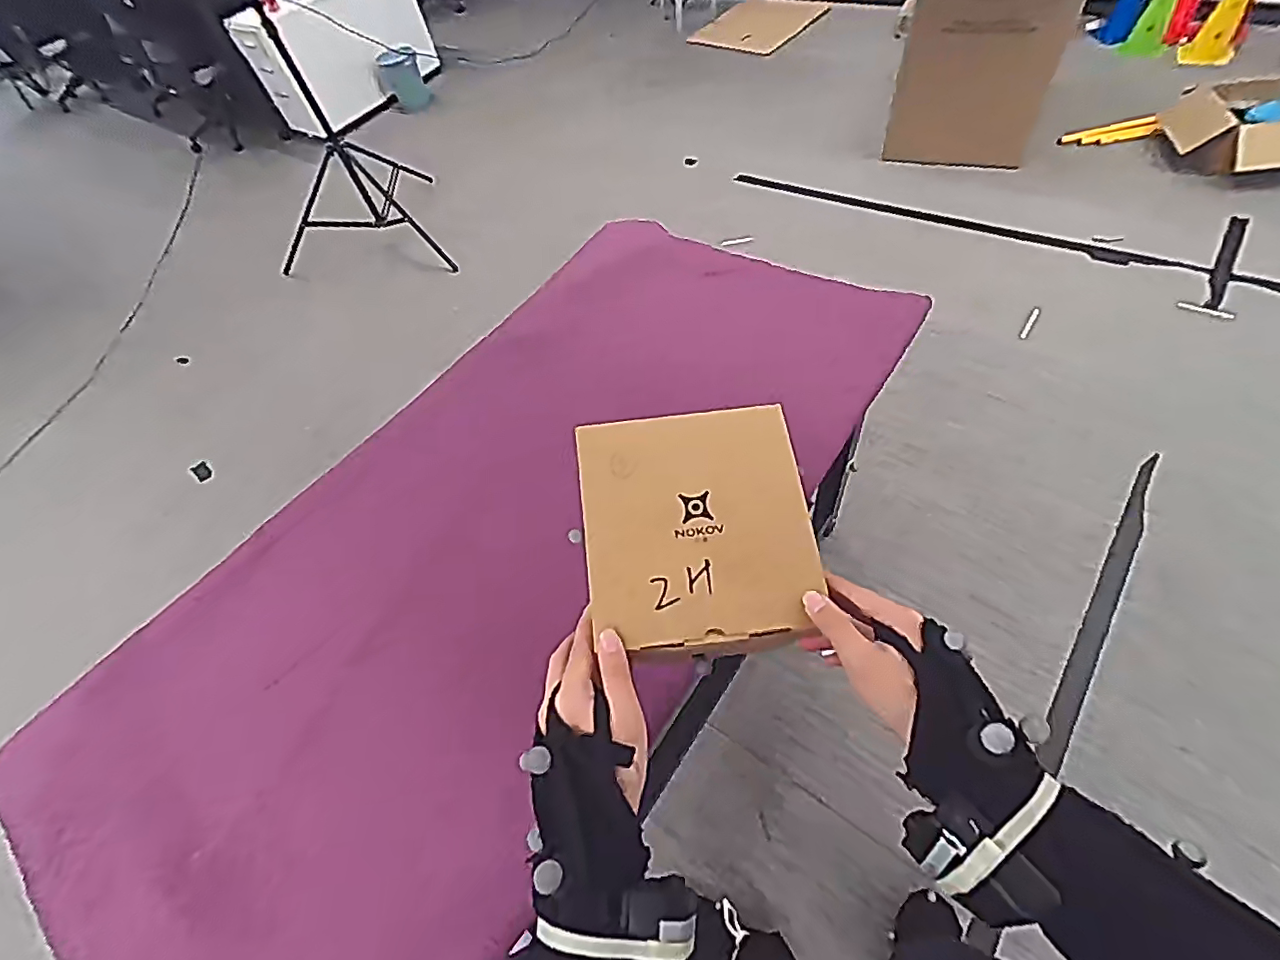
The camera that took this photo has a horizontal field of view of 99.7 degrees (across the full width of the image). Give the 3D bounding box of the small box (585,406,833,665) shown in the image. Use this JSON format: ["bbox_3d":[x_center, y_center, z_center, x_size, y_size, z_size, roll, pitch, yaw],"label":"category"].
[{"bbox_3d":[0.044,0.058,0.475,0.168,0.176,0.179,-6,67,-2],"label":"small box"}]
